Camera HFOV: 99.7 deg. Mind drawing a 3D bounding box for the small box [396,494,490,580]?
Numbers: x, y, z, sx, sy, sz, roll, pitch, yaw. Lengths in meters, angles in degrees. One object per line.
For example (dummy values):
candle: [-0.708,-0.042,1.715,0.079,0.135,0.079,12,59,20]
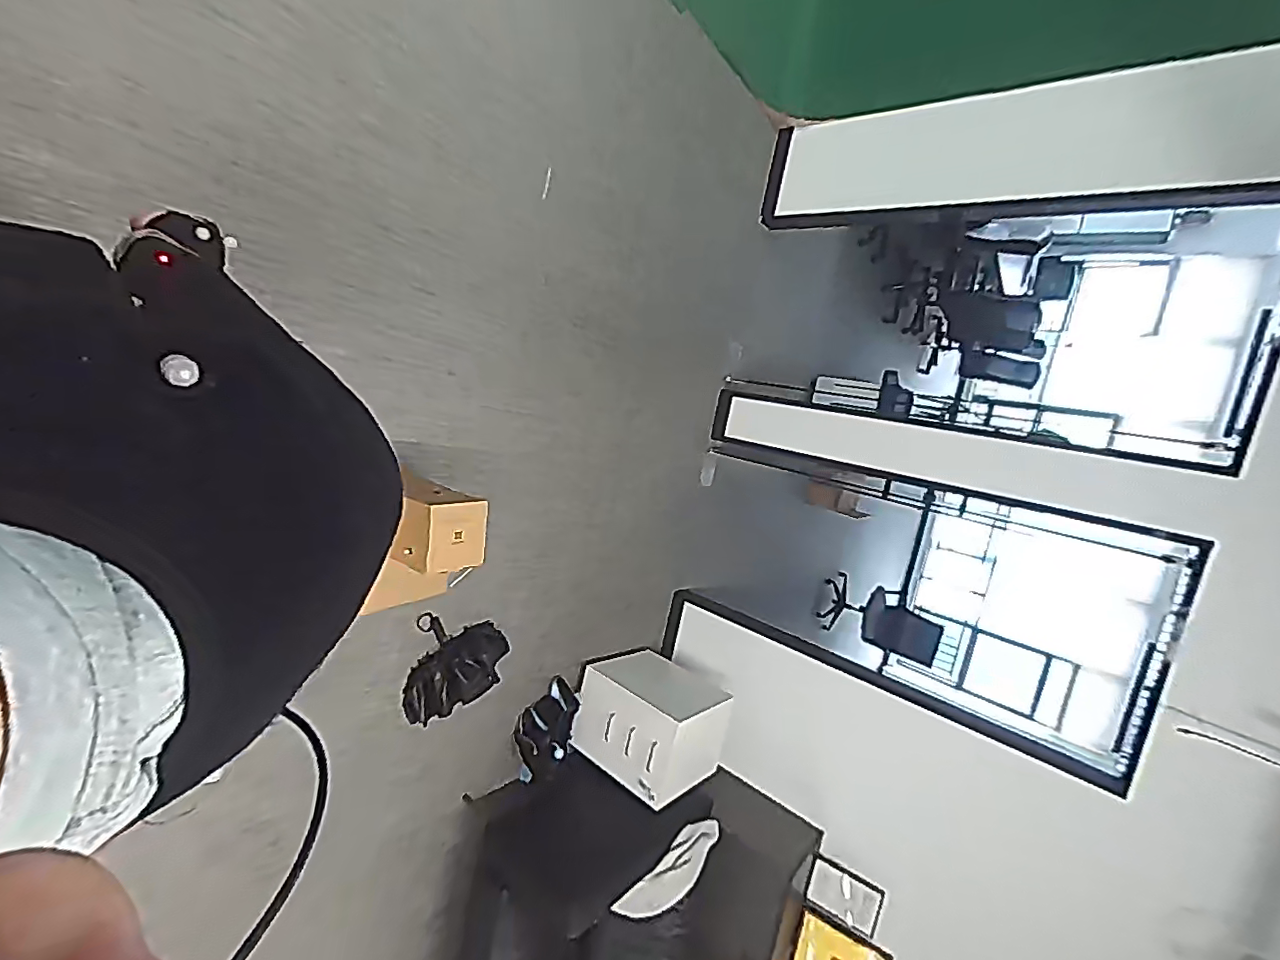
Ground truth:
small box: [-0.510,0.139,1.394,0.168,0.176,0.179,-5,102,-52]
